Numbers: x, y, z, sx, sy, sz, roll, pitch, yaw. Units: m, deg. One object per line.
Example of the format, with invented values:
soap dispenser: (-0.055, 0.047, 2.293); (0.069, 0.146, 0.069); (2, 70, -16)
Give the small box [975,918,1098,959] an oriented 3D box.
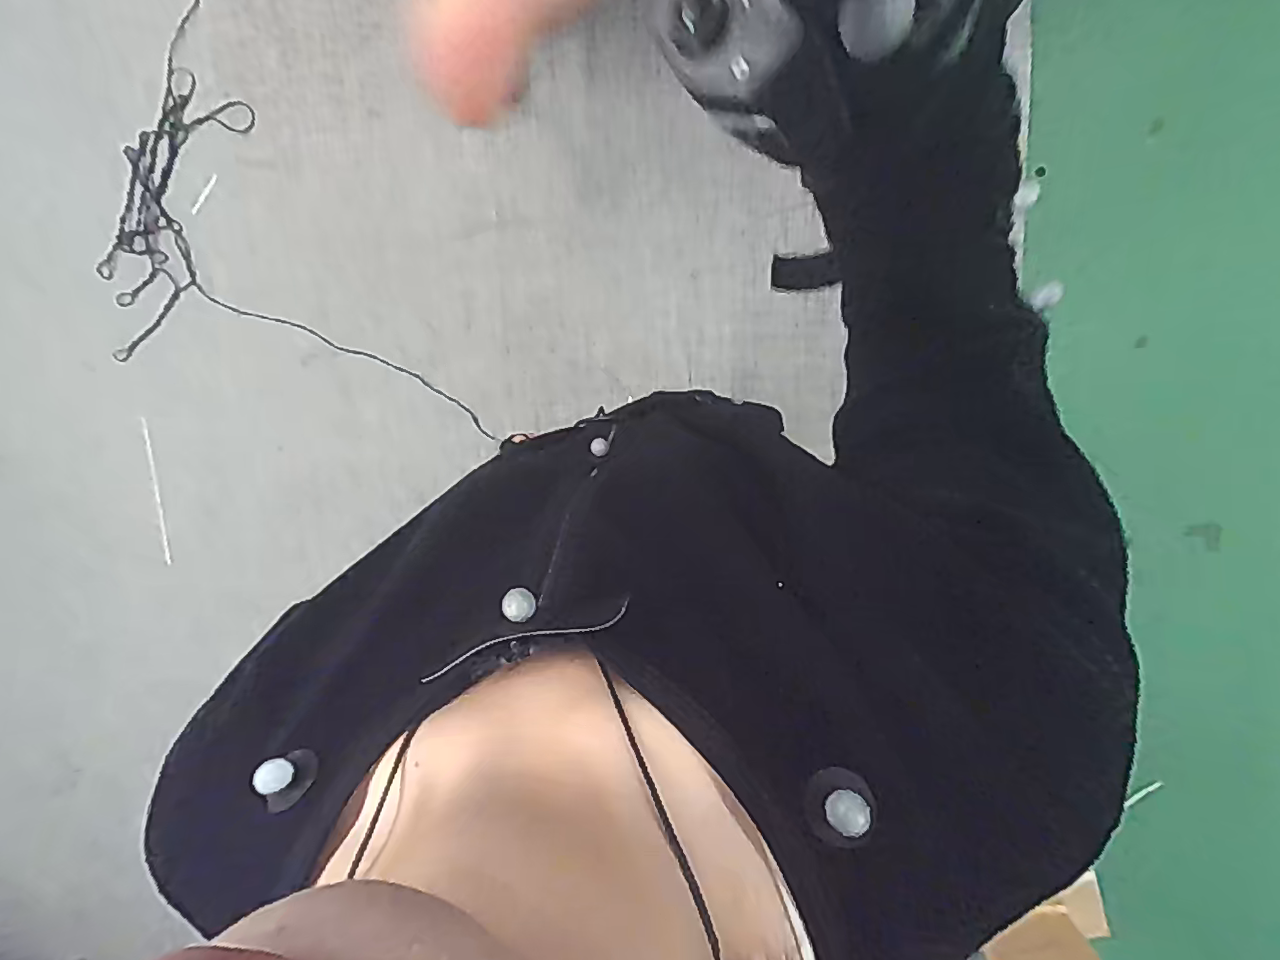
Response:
small box: (0.741, 0.933, 0.971); (0.179, 0.176, 0.168); (-9, 95, 8)
